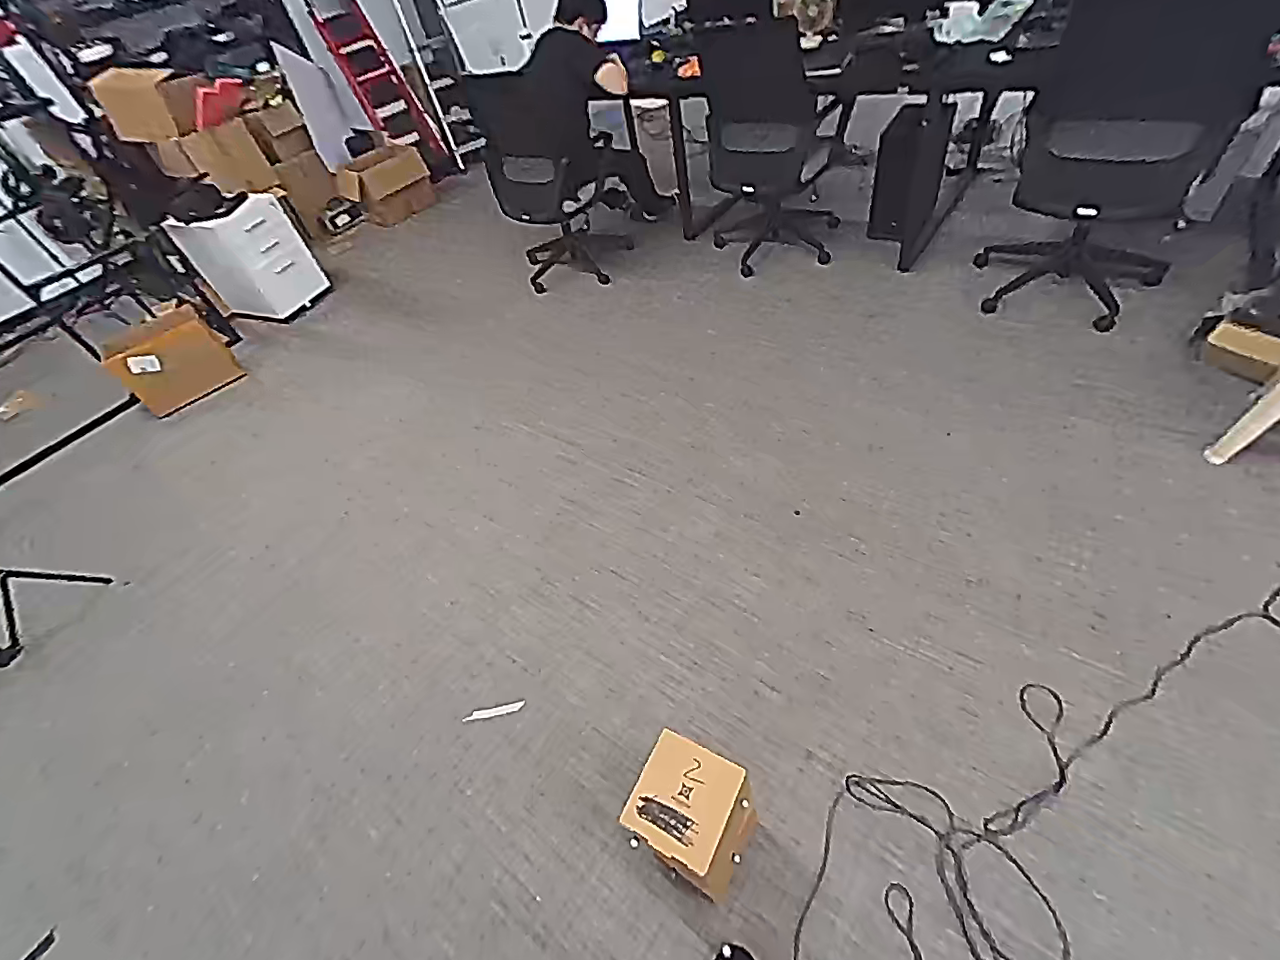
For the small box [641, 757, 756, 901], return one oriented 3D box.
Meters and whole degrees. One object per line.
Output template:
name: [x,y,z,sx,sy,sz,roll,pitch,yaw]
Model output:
small box: [0.128,0.710,1.095,0.168,0.176,0.179,21,56,30]
